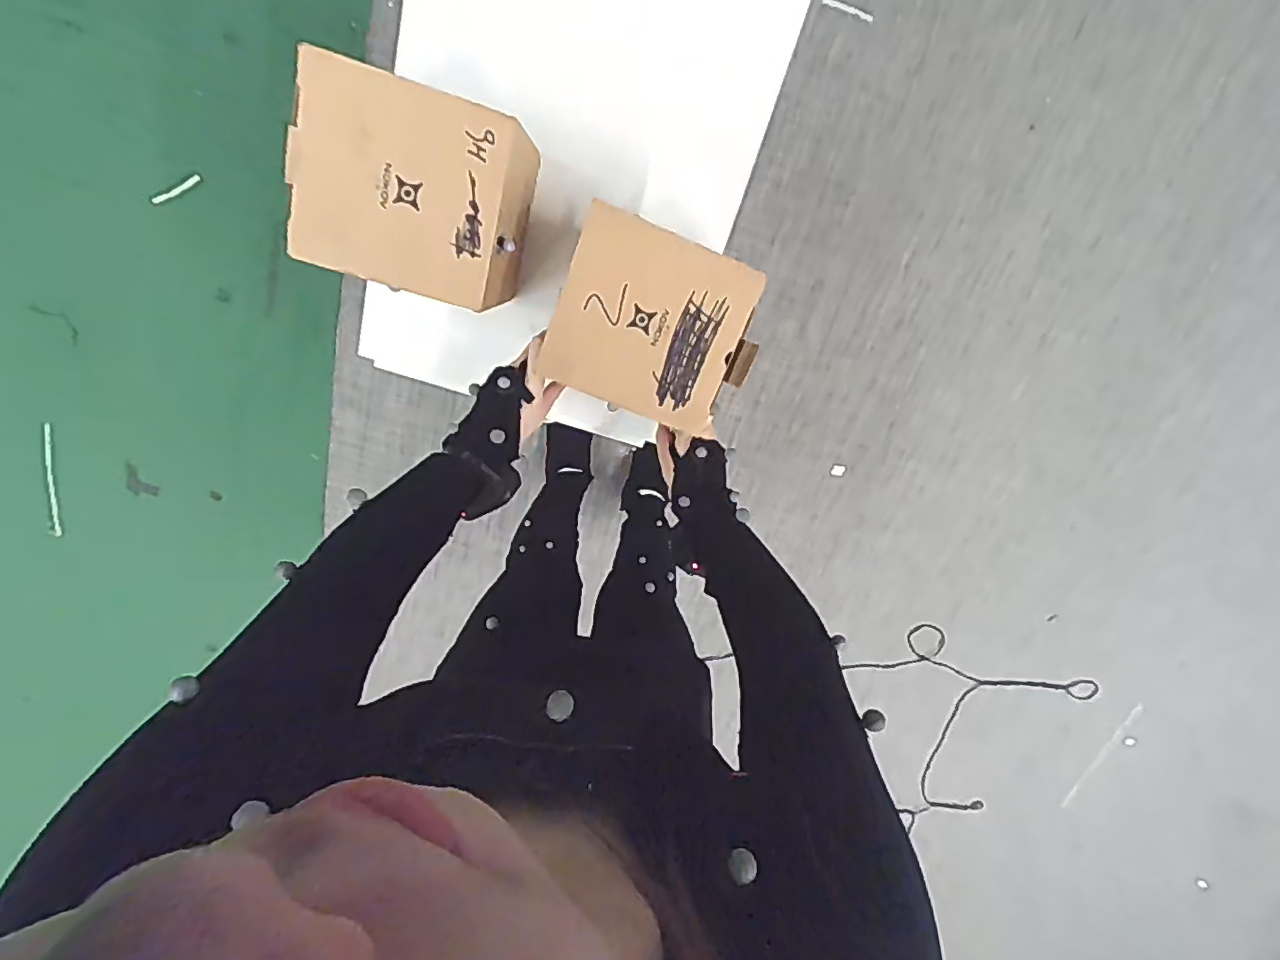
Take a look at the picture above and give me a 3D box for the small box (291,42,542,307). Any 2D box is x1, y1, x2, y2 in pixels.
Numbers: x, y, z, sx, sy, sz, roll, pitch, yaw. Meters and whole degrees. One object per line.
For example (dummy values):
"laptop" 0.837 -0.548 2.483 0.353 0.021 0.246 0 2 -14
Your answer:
"small box" -0.209 -0.283 0.543 0.179 0.176 0.168 15 110 -8
